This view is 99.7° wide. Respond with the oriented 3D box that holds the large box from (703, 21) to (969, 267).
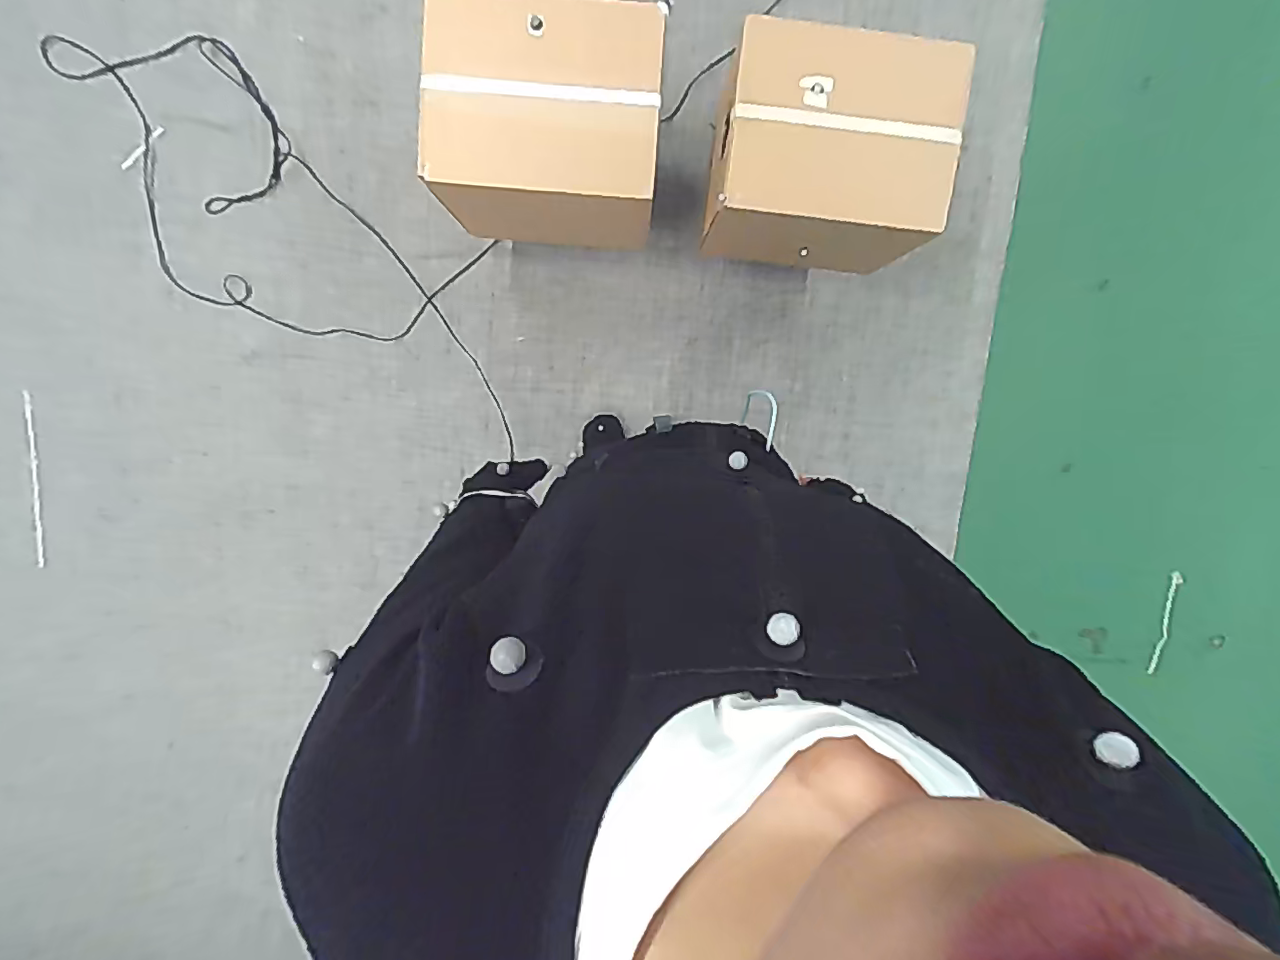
[{"bbox_3d":[0.362,-0.644,1.102,0.408,0.320,0.320,6,97,-2],"label":"large box"}]
